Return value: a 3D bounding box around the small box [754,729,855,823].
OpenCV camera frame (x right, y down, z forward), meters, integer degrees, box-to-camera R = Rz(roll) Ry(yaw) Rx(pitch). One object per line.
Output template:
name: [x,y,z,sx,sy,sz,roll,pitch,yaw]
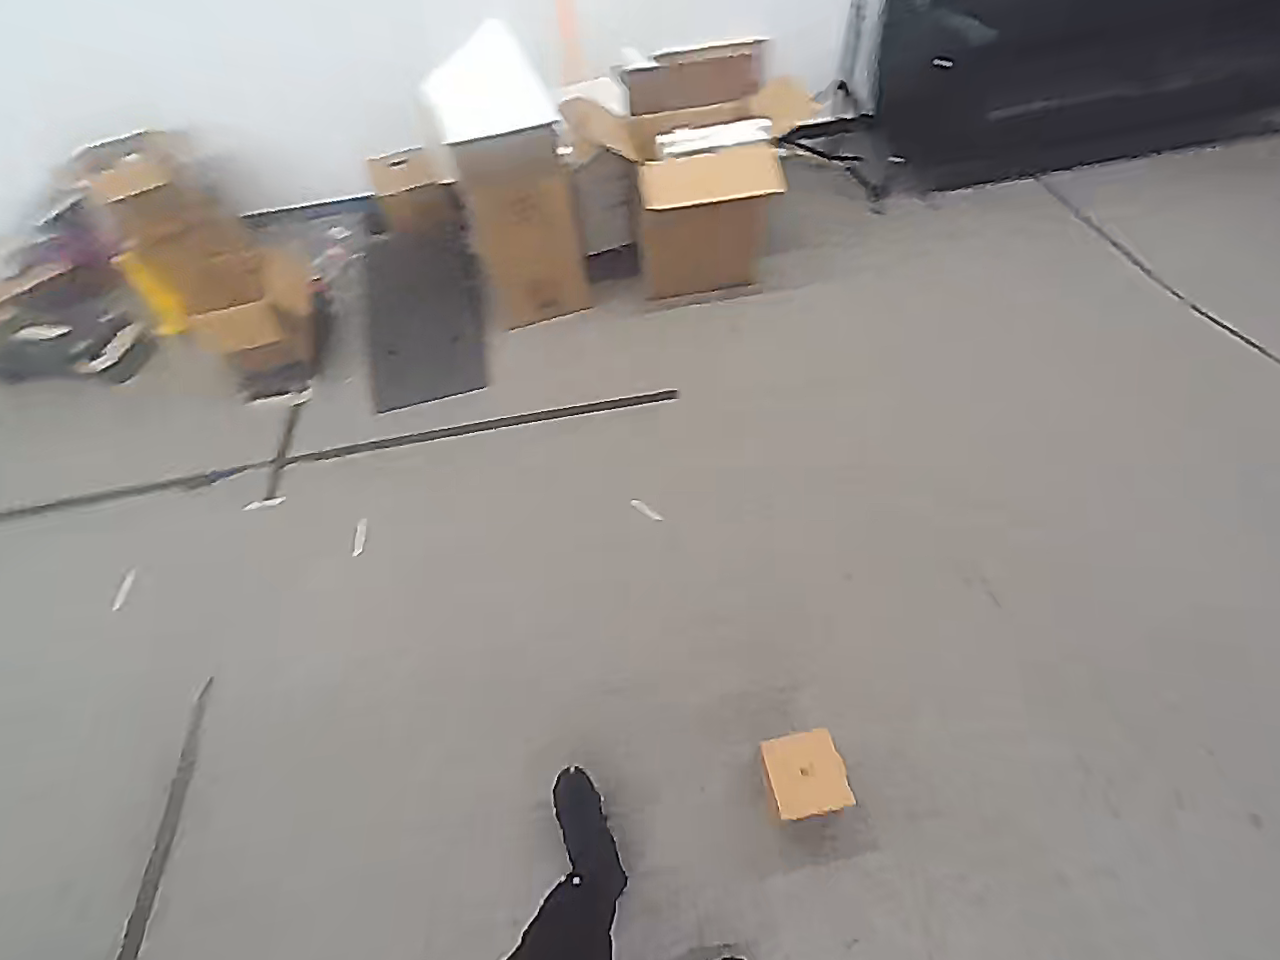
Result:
small box: [0.391,0.724,1.320,0.179,0.176,0.168,-10,53,-2]
